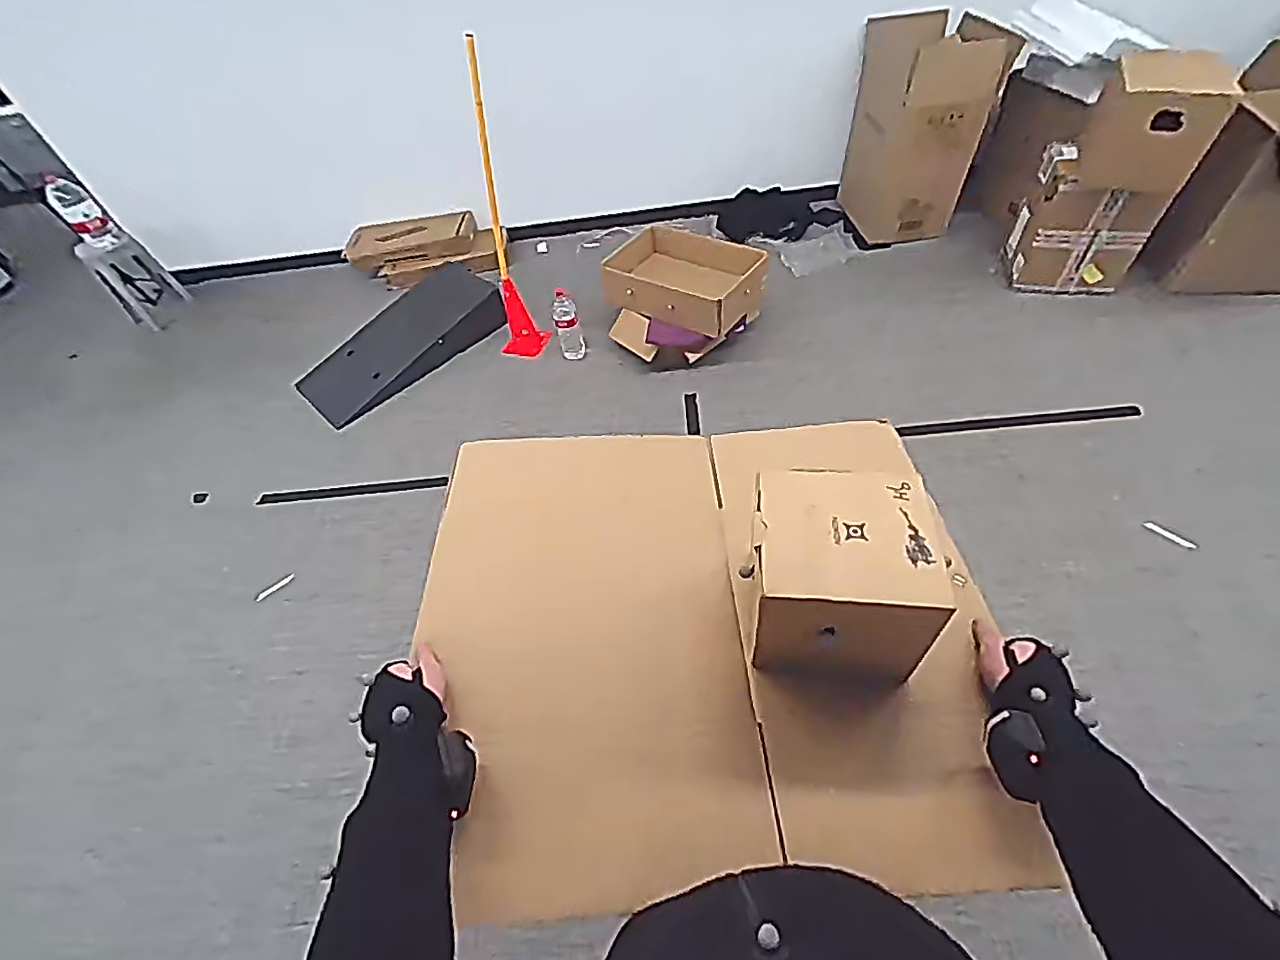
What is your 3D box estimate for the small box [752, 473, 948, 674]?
[{"bbox_3d":[0.219,0.109,0.620,0.179,0.176,0.168,1,50,10],"label":"small box"}]
